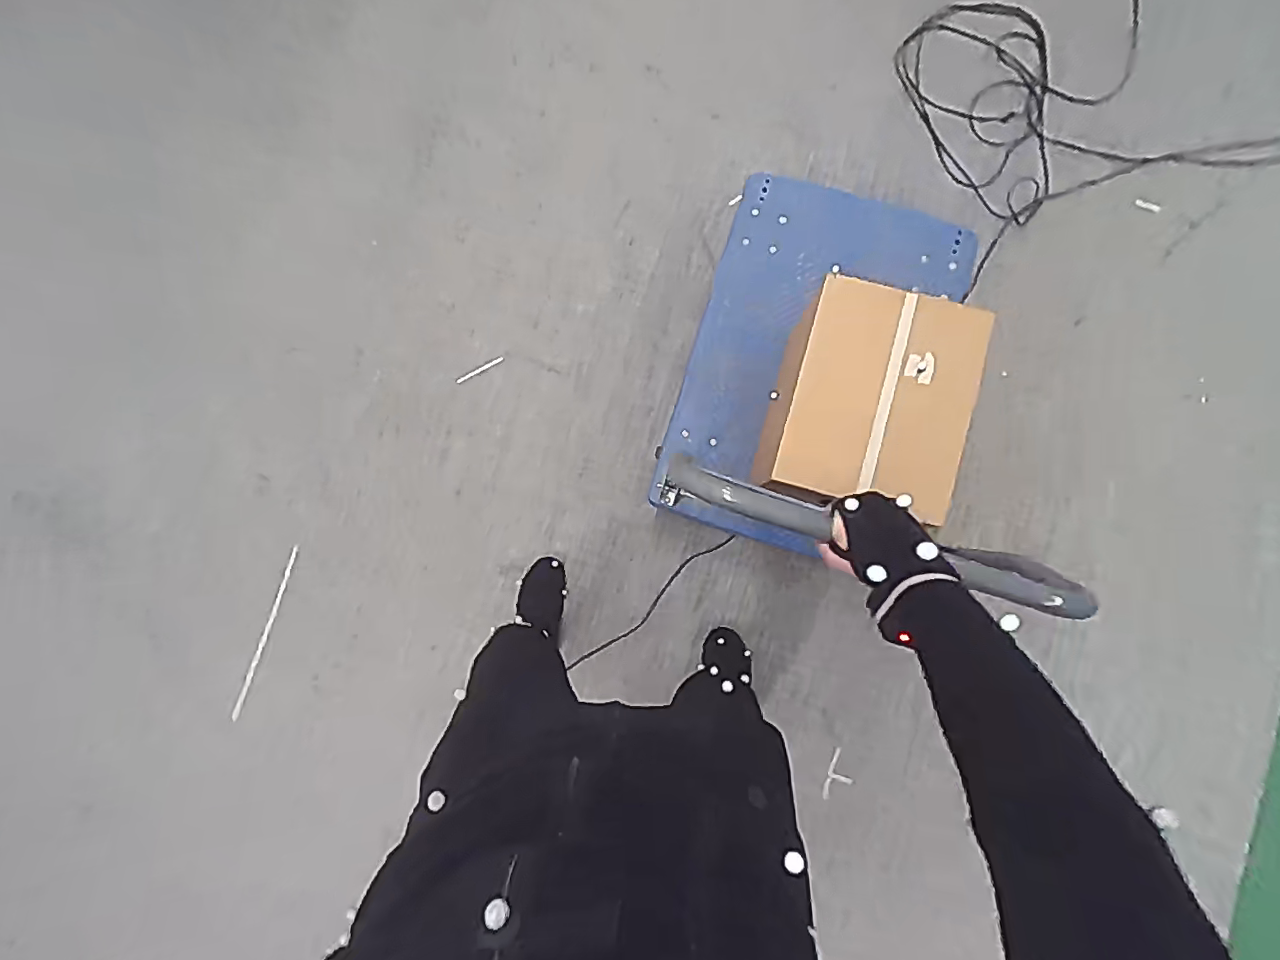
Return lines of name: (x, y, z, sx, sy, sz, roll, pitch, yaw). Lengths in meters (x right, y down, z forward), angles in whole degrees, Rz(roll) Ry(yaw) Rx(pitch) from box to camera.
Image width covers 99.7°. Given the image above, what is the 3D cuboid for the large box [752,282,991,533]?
large box: (0.448, -0.122, 1.123, 0.320, 0.320, 0.408, 17, 84, 3)
